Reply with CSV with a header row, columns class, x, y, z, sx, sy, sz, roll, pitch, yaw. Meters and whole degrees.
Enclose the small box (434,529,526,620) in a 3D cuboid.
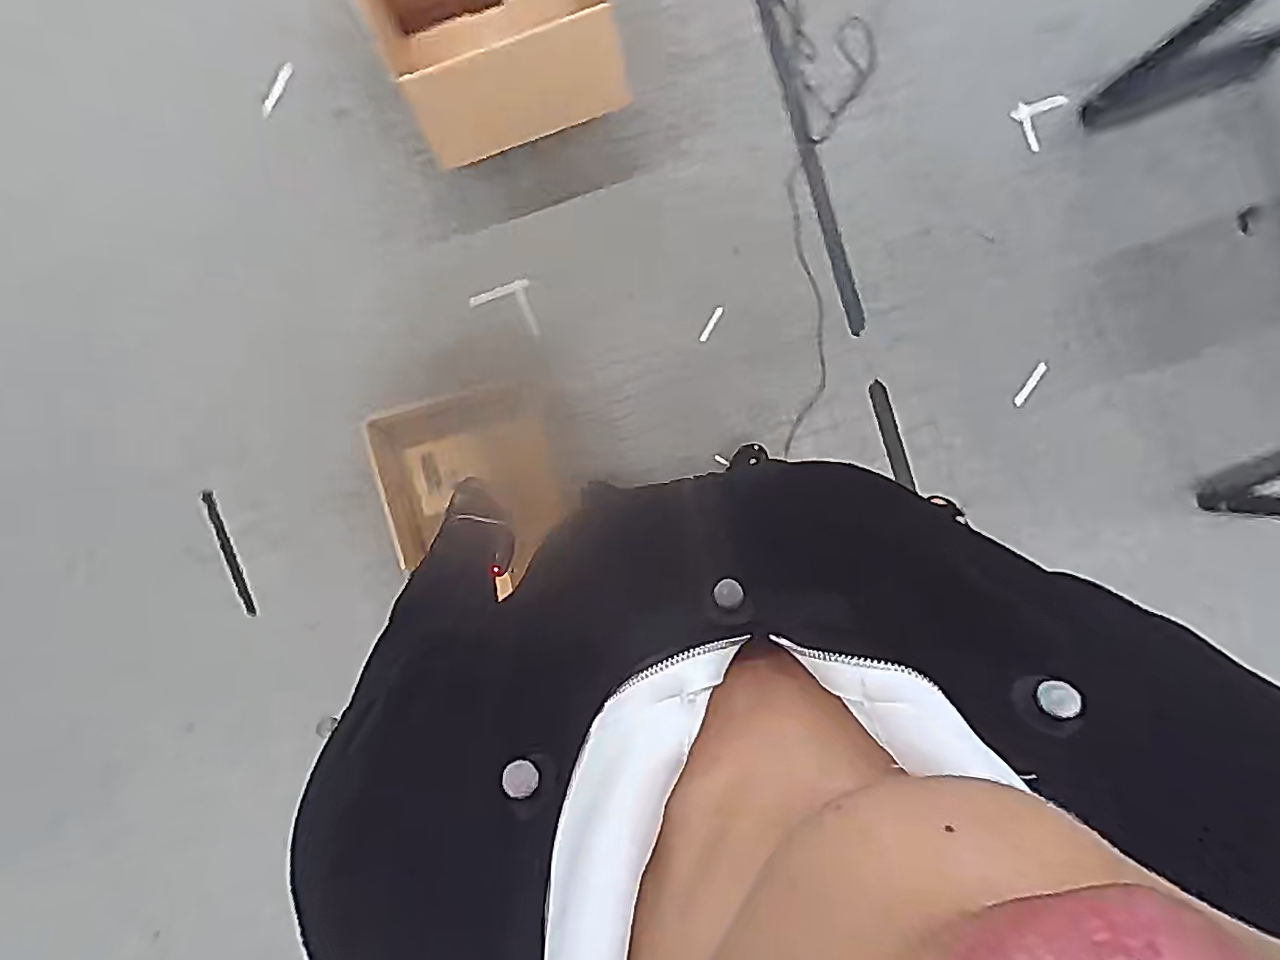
class,x,y,z,sx,sy,sz,roll,pitch,yaw
small box,-0.398,0.233,1.372,0.168,0.176,0.179,-15,91,-3
